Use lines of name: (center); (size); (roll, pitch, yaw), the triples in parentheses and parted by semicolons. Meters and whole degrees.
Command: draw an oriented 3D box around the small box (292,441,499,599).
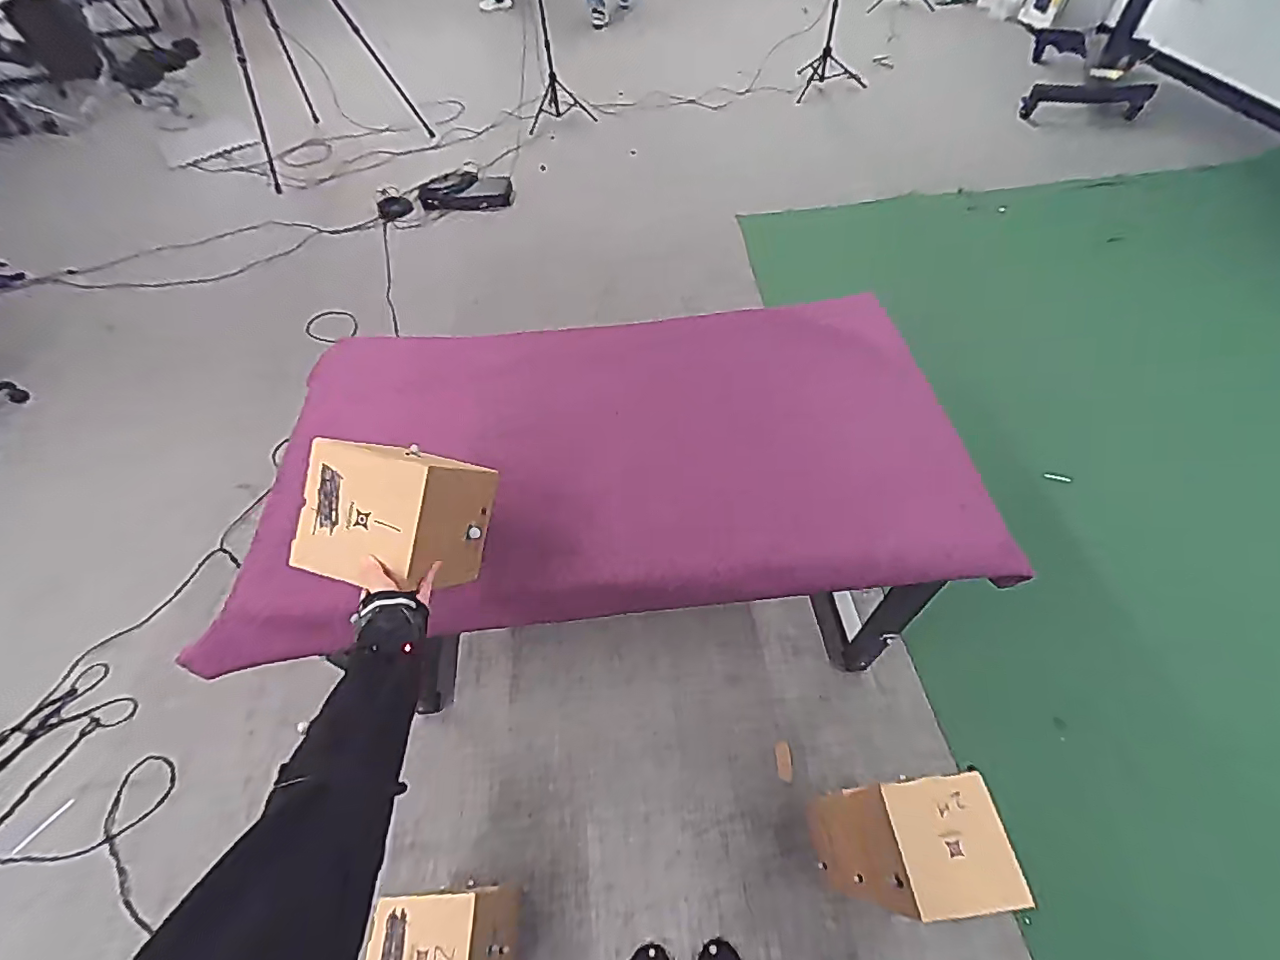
small box: (-0.324, 0.051, 0.742); (0.179, 0.176, 0.168); (12, 91, 14)

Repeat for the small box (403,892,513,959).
small box: (-0.358, 0.939, 1.076); (0.168, 0.176, 0.179); (-3, 55, 1)

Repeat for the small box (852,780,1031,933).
small box: (0.466, 0.598, 0.870); (0.168, 0.176, 0.179); (-7, 55, -2)

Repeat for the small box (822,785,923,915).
small box: (0.459, 0.687, 1.010); (0.168, 0.176, 0.179); (-7, 55, -2)
